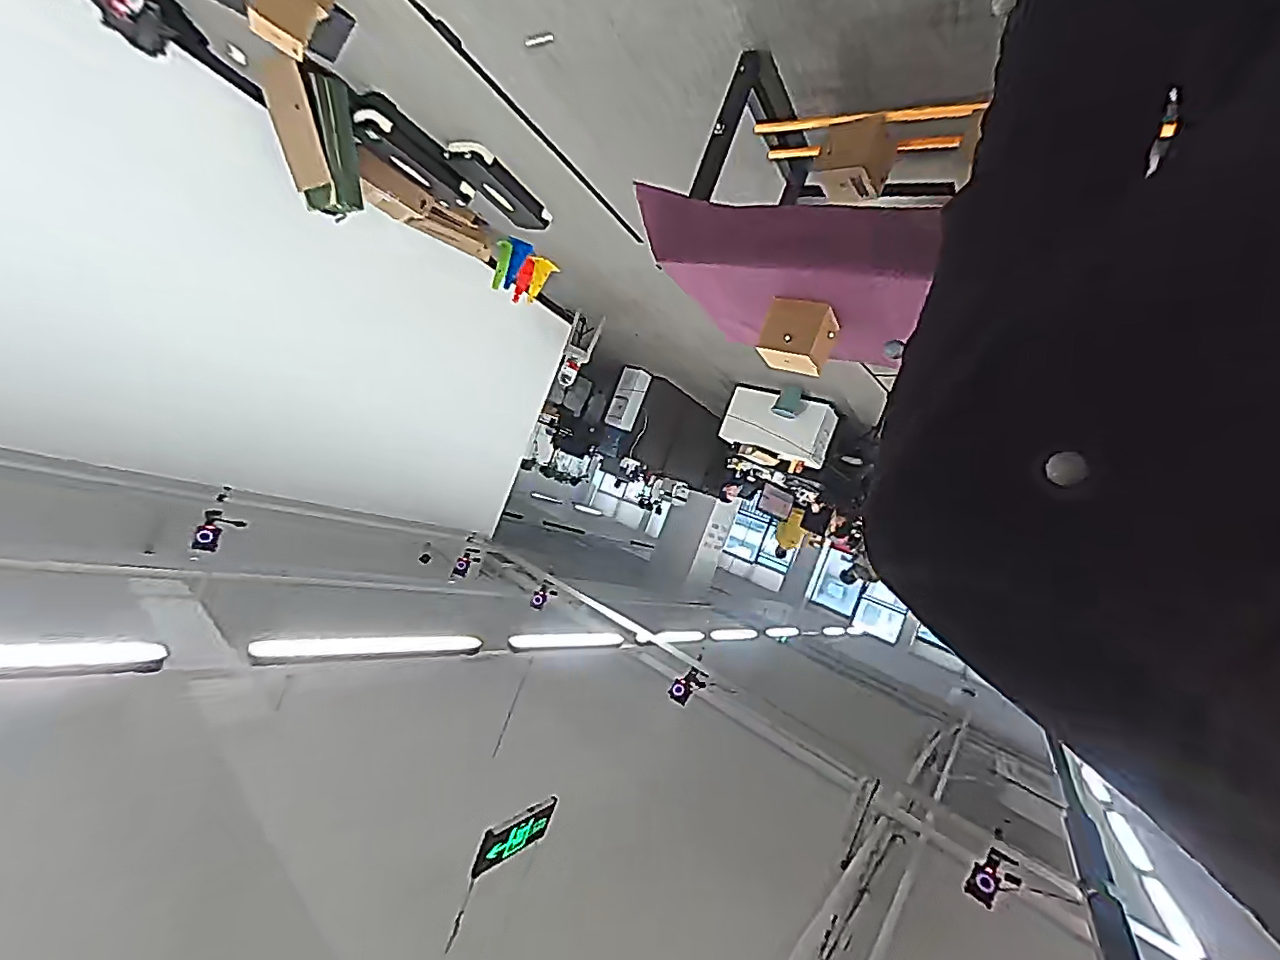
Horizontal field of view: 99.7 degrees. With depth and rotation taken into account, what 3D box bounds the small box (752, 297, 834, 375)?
[{"bbox_3d":[0.474,-0.447,1.666,0.179,0.176,0.168,20,179,32],"label":"small box"}]
